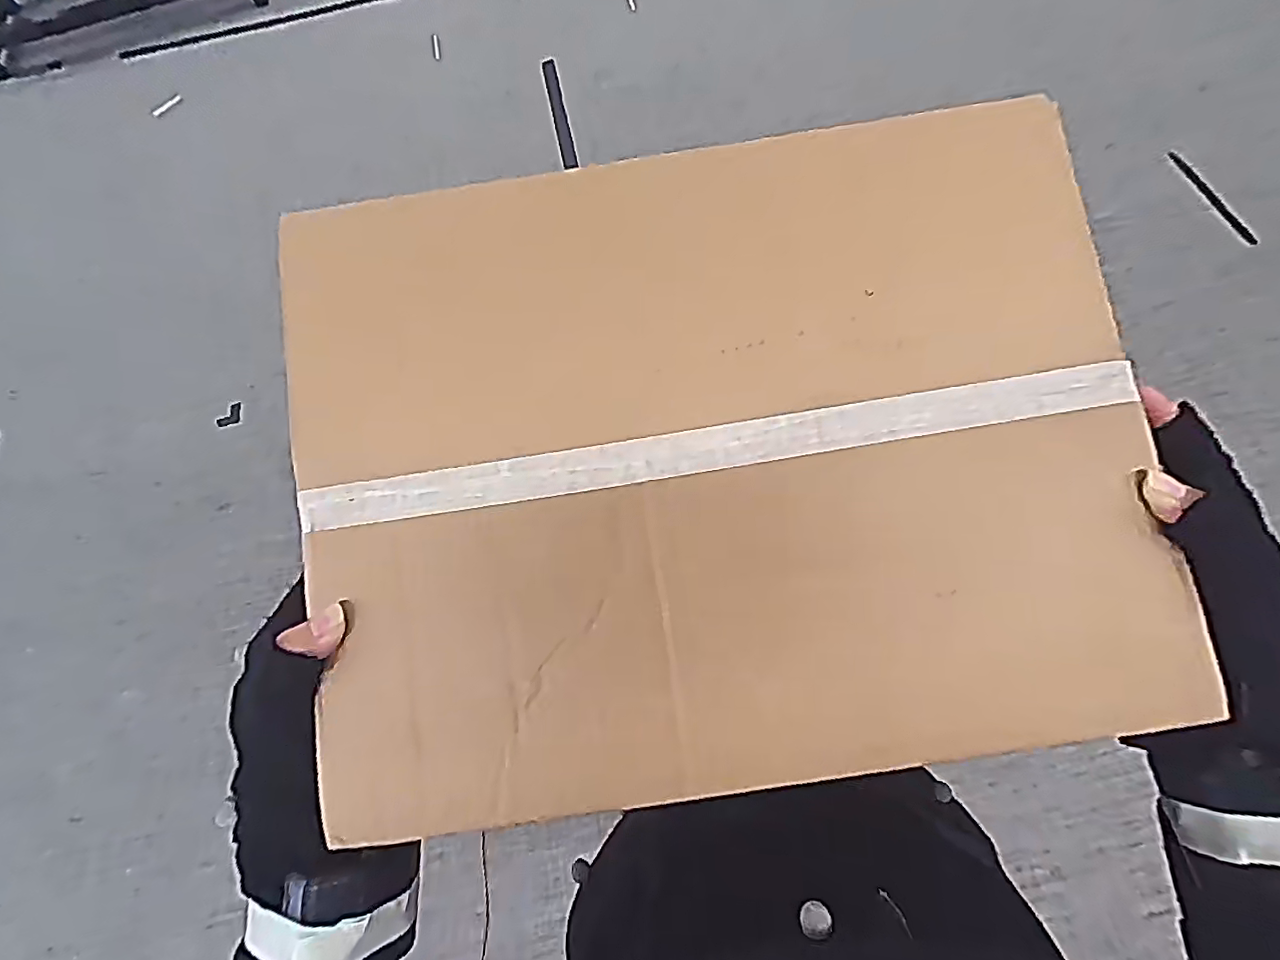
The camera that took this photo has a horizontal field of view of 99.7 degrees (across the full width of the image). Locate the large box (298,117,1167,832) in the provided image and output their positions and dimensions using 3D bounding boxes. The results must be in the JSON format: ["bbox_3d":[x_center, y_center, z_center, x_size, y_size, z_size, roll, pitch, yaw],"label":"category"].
[{"bbox_3d":[0.038,0.003,0.422,0.408,0.320,0.320,-9,82,1],"label":"large box"}]
